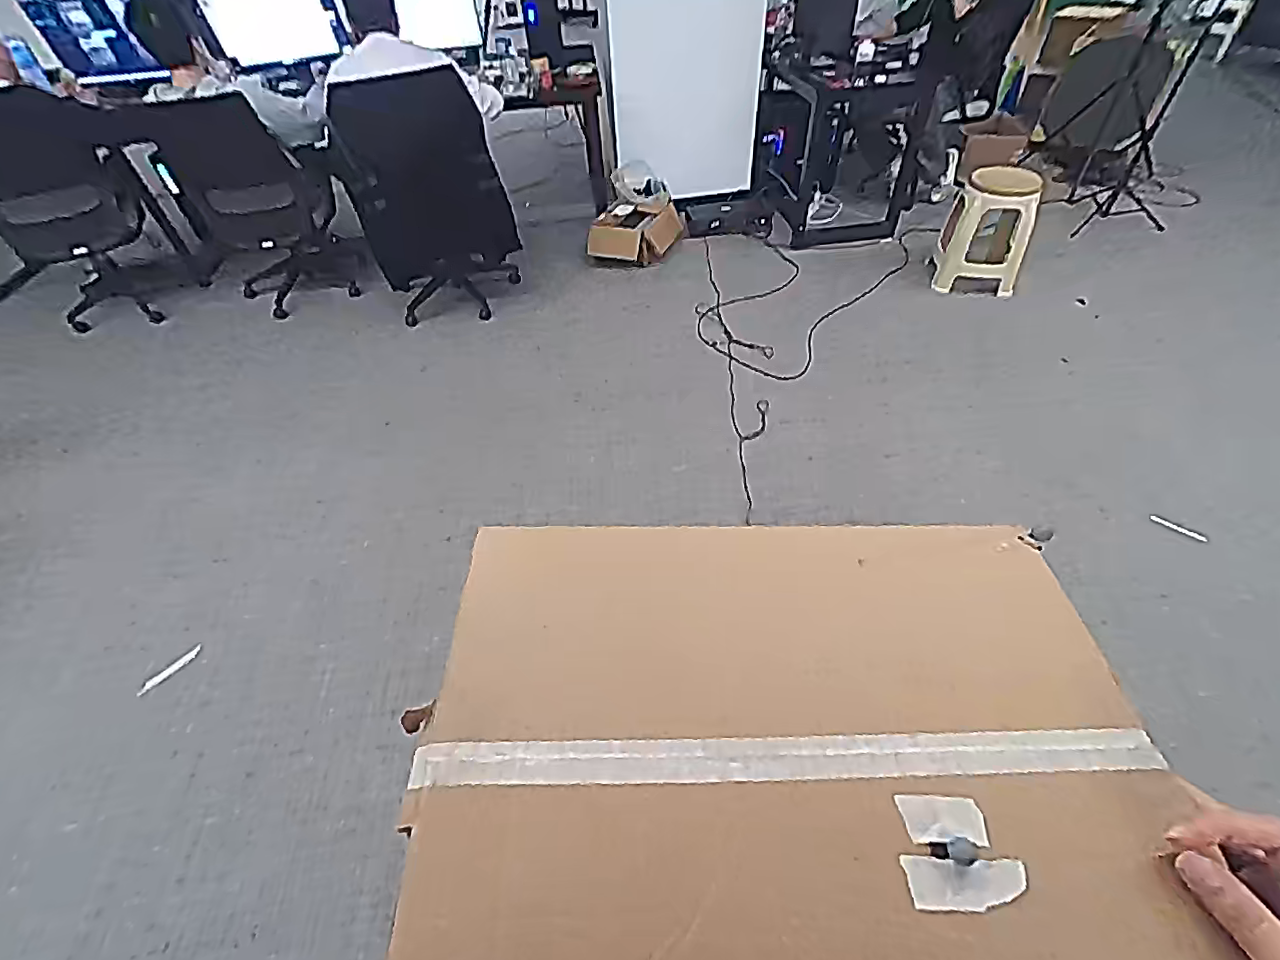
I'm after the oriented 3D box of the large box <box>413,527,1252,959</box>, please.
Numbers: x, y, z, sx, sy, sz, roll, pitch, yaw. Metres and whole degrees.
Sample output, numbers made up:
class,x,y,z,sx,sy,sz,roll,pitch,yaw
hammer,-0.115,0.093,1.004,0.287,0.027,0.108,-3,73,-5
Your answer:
class,x,y,z,sx,sy,sz,roll,pitch,yaw
large box,0.083,0.250,0.425,0.408,0.320,0.320,1,50,-3
